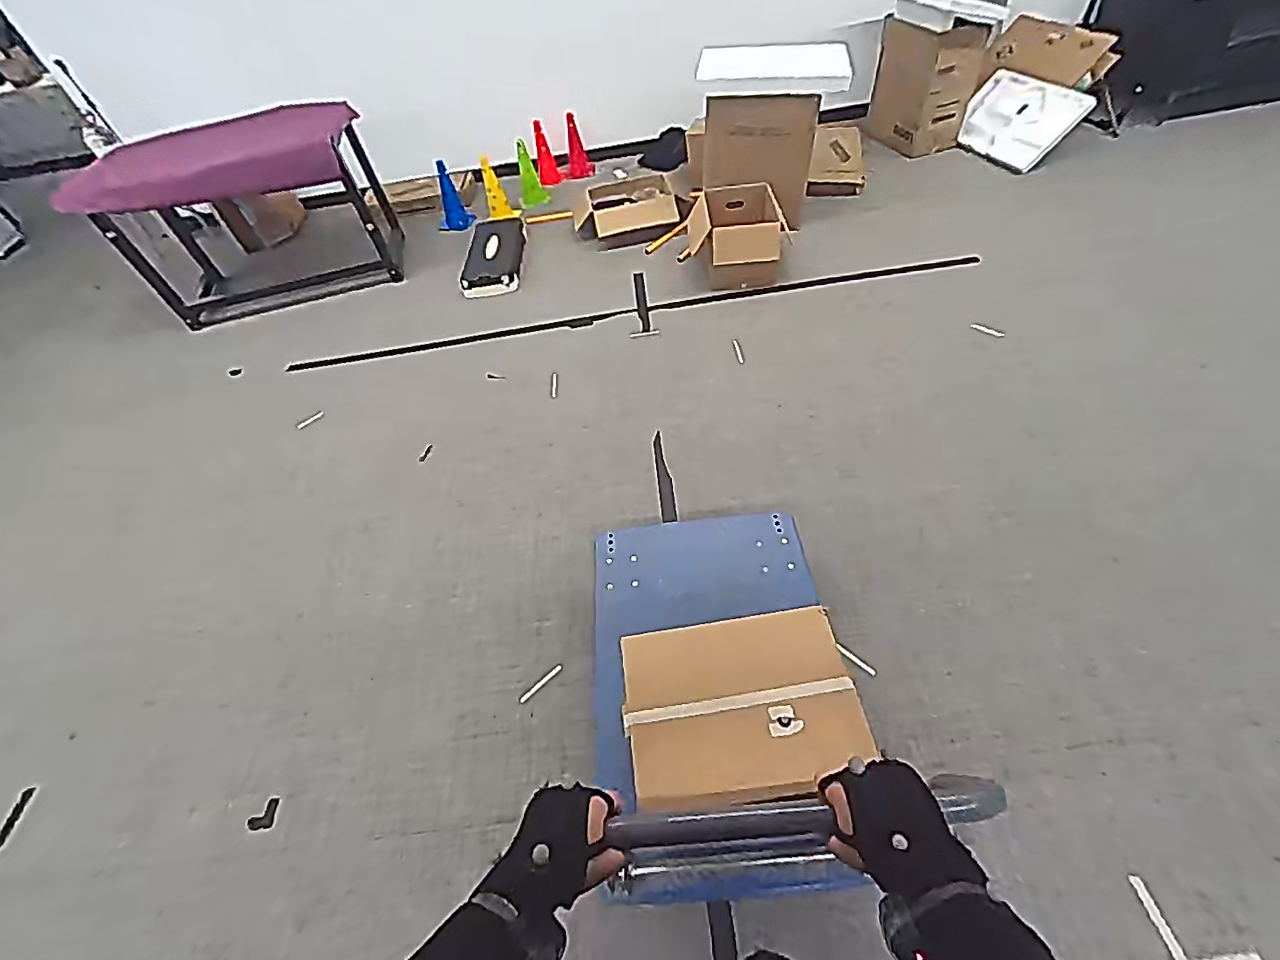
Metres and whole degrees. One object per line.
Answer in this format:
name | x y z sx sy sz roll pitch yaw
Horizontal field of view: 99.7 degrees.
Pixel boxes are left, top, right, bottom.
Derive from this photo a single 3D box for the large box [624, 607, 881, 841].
large box | 0.196 0.497 1.091 0.408 0.320 0.320 -9 50 0
